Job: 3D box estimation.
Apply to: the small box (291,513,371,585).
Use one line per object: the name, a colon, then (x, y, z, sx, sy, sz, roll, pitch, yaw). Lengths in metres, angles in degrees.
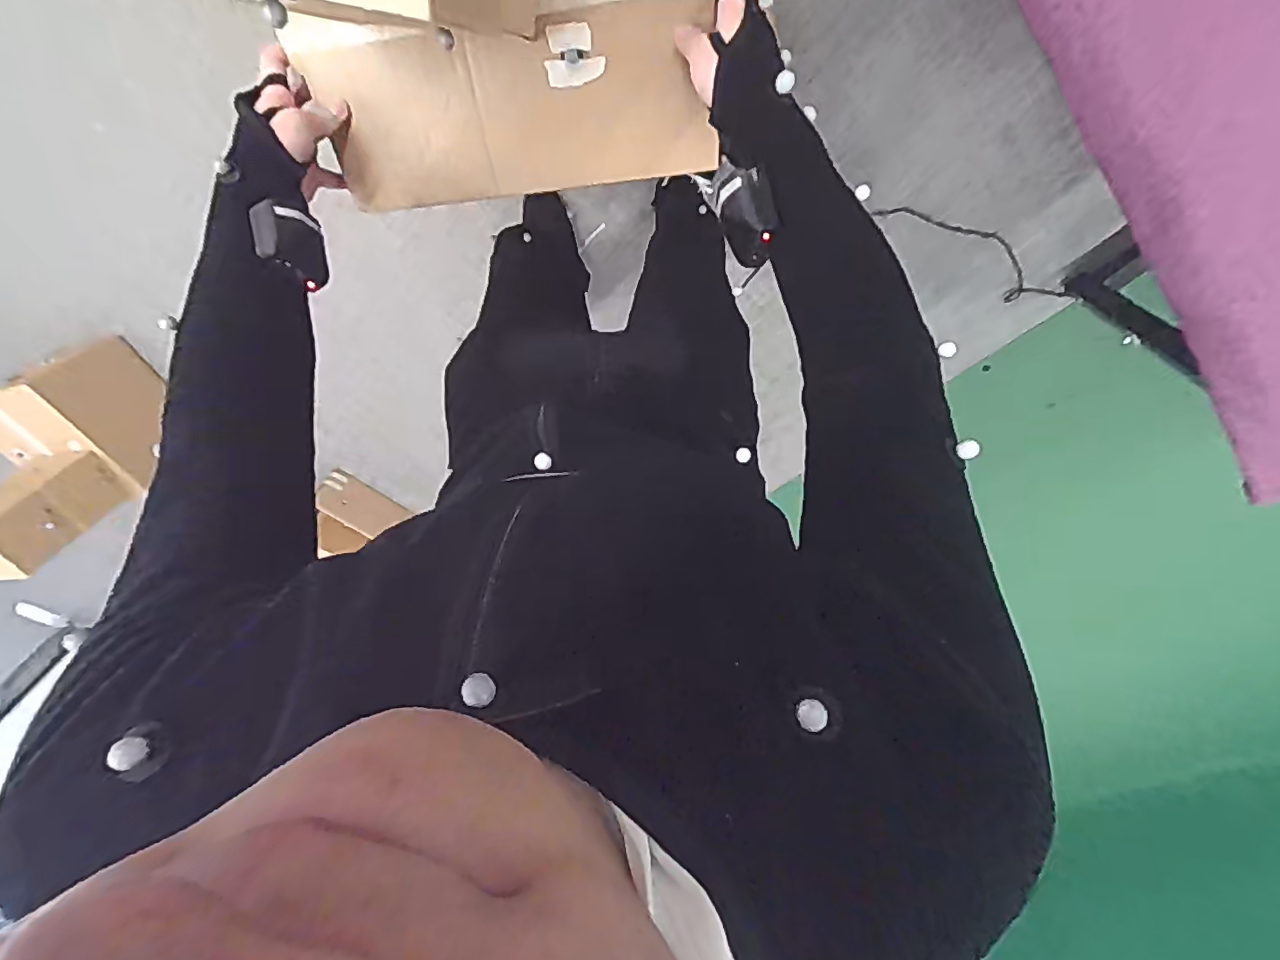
small box: (-1.133, 0.247, 1.989, 0.179, 0.176, 0.168, 34, 124, -22)

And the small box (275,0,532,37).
small box: (-0.180, -0.427, 0.378, 0.179, 0.176, 0.168, 4, 126, -2)

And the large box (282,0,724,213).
large box: (-0.128, -0.525, 0.608, 0.408, 0.320, 0.320, -5, 128, 5)

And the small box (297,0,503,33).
small box: (-0.167, -0.328, 0.249, 0.179, 0.176, 0.168, 8, 127, -5)

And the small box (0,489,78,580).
small box: (-1.634, 0.139, 1.385, 0.179, 0.176, 0.168, -3, 129, 5)
